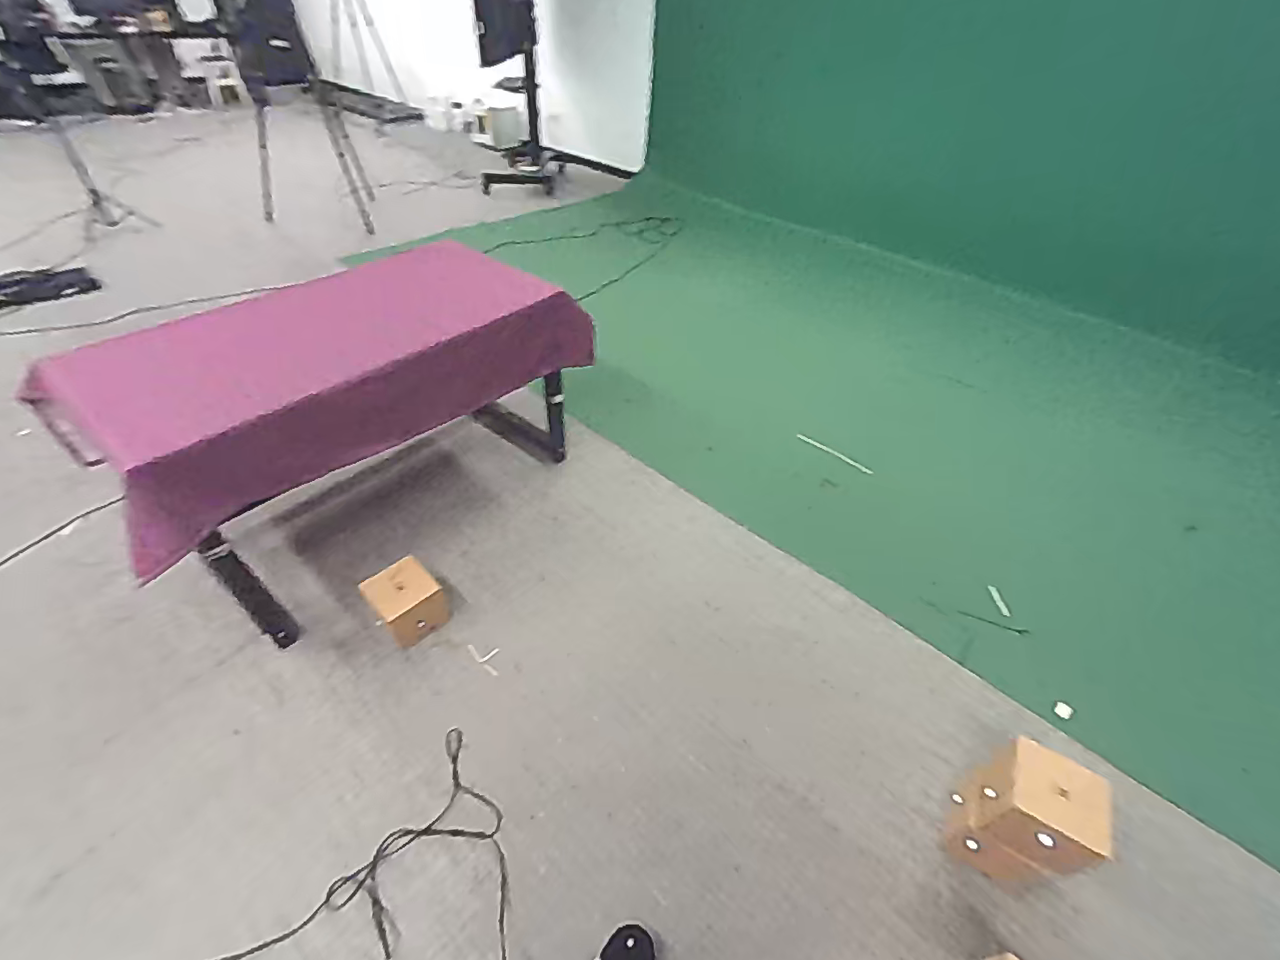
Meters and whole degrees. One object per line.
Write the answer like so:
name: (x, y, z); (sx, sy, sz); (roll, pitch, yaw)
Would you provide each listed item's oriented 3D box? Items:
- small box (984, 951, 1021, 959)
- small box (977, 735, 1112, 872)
small box: (0.605, 0.928, 0.876); (0.179, 0.176, 0.168); (-27, 51, -30)
small box: (0.852, 0.691, 1.150); (0.179, 0.176, 0.168); (26, 48, 21)
